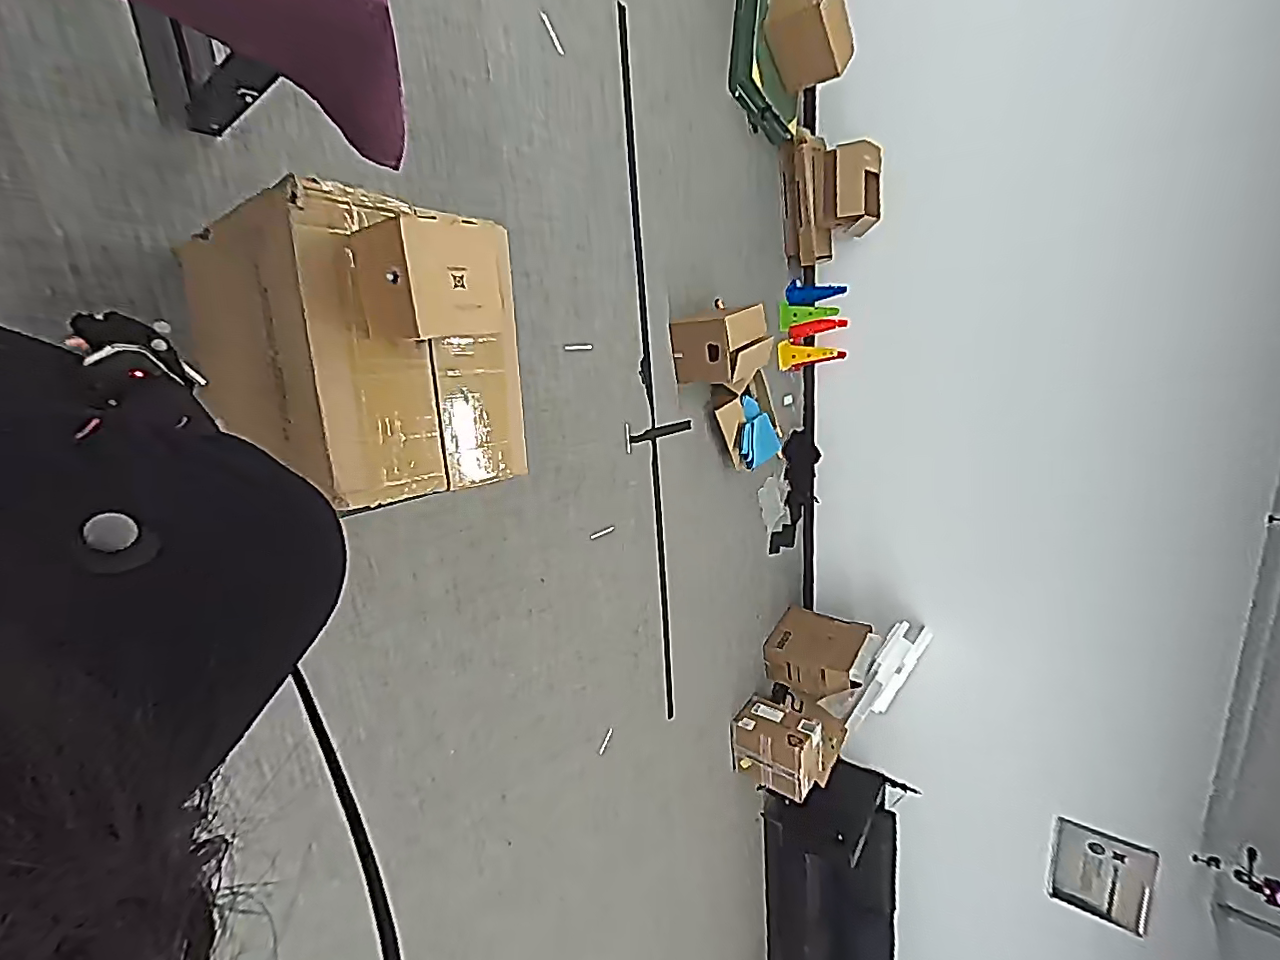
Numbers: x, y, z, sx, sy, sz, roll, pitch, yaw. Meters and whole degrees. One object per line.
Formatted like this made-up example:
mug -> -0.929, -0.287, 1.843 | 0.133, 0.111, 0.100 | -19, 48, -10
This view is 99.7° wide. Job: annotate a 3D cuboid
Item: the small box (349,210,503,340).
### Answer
small box -> -0.354, -0.329, 0.896 | 0.168, 0.176, 0.179 | -21, 114, -47
